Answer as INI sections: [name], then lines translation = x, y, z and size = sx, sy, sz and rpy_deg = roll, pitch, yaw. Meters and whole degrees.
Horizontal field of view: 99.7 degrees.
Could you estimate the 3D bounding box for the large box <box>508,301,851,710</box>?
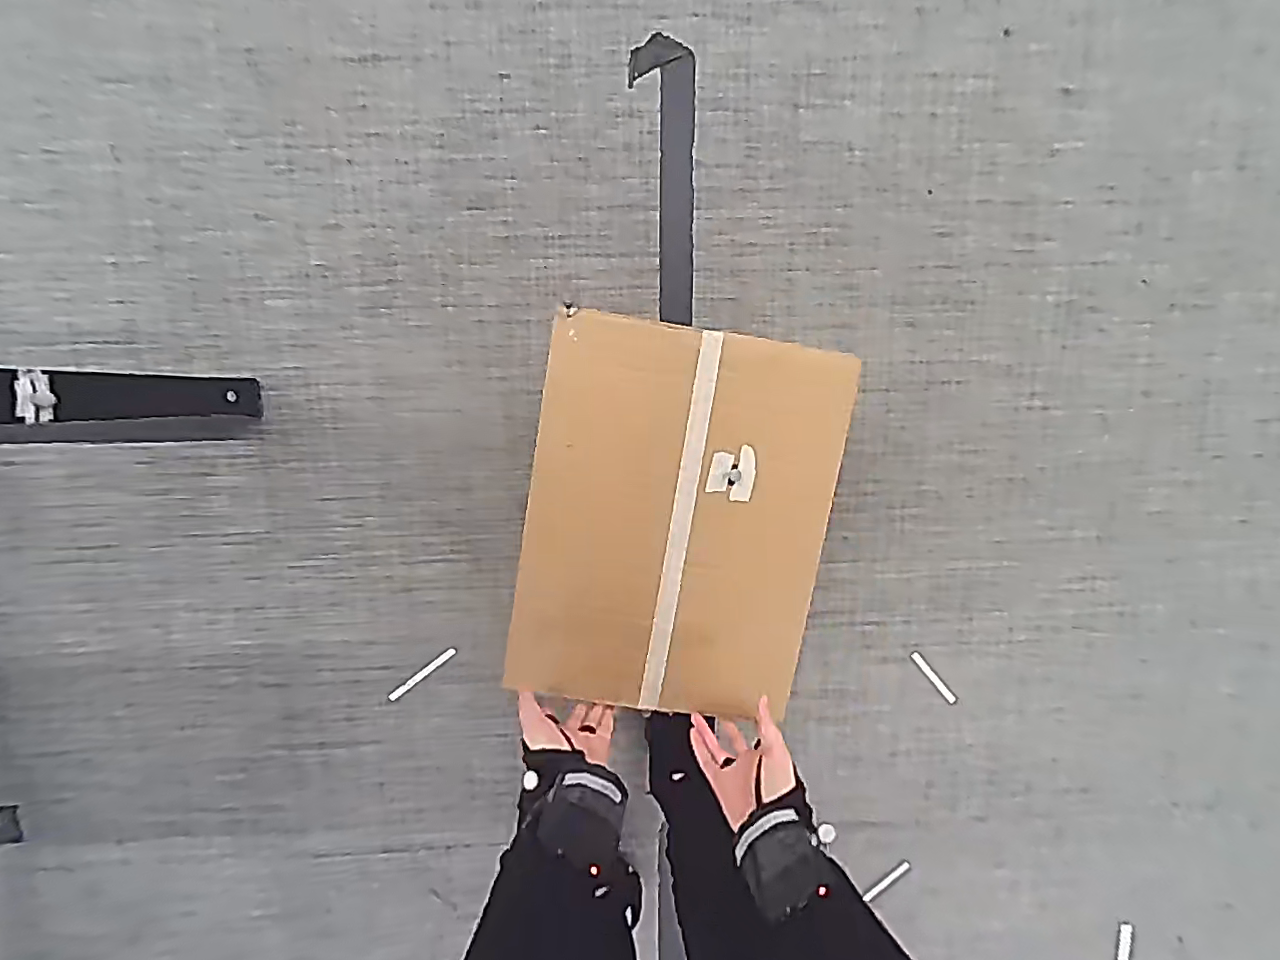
[large box]
translation = 0.031, 0.022, 0.708
size = 0.320, 0.320, 0.408
rpy_deg = 9, 97, -5
